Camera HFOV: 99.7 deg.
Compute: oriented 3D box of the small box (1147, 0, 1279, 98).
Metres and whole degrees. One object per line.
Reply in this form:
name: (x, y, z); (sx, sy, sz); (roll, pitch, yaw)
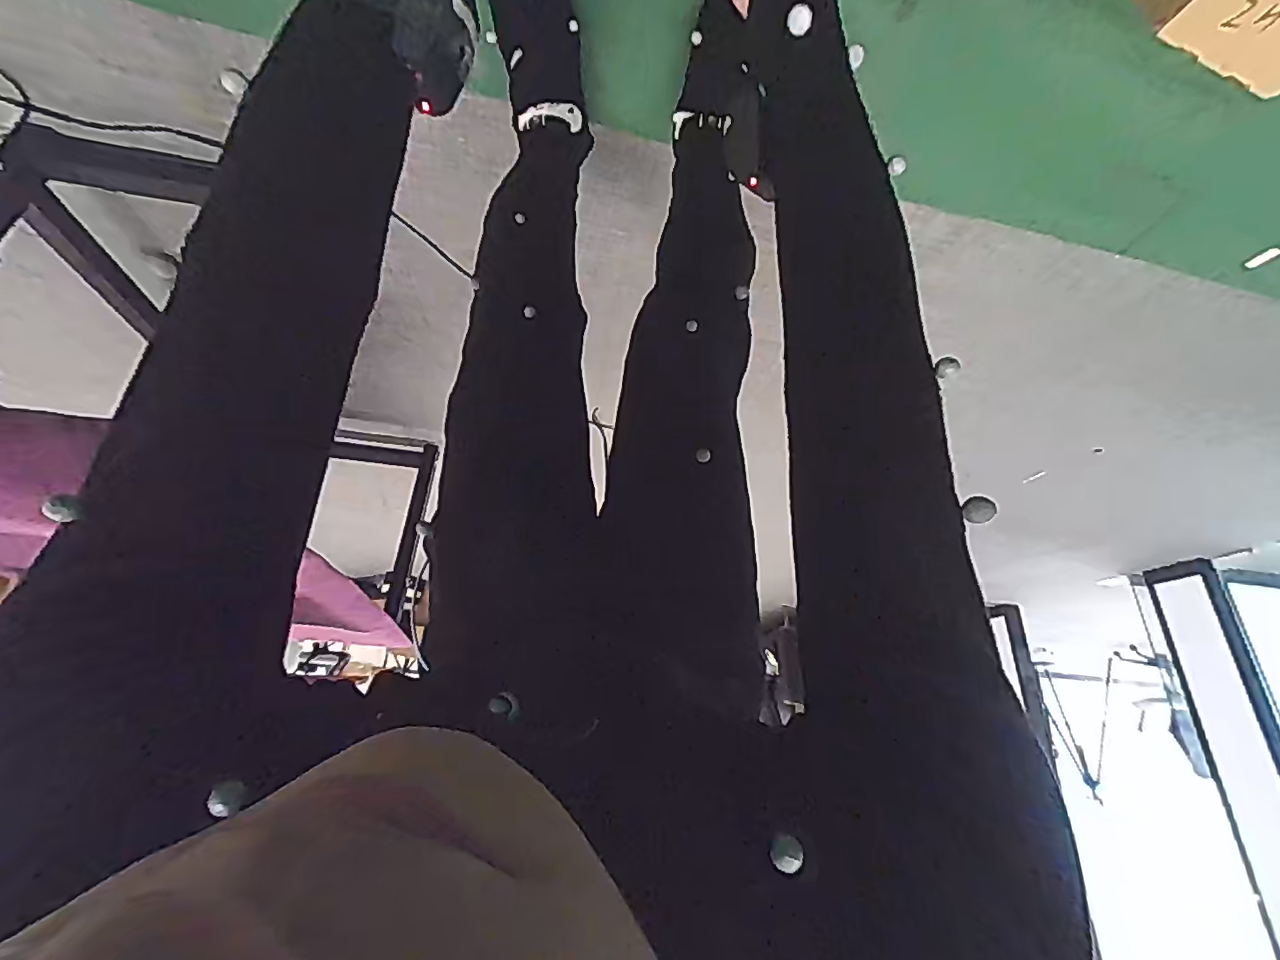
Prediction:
small box: (0.577, -0.496, 0.470); (0.168, 0.176, 0.179); (11, 154, -16)
